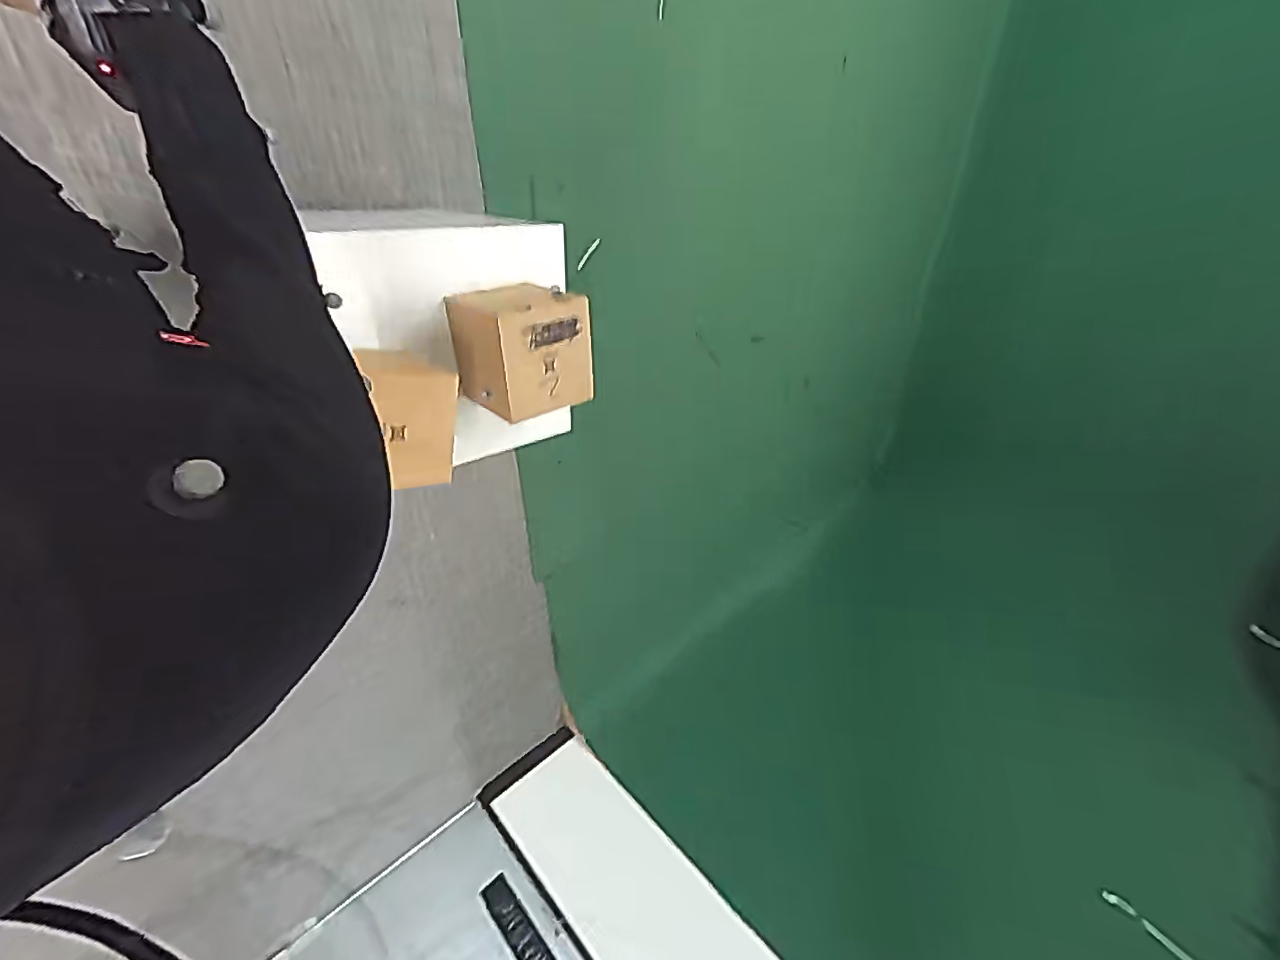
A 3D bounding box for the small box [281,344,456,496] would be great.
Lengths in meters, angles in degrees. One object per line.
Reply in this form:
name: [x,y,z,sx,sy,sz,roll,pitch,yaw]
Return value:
small box: [-0.389,-0.093,0.775,0.179,0.176,0.168,-9,118,-45]
